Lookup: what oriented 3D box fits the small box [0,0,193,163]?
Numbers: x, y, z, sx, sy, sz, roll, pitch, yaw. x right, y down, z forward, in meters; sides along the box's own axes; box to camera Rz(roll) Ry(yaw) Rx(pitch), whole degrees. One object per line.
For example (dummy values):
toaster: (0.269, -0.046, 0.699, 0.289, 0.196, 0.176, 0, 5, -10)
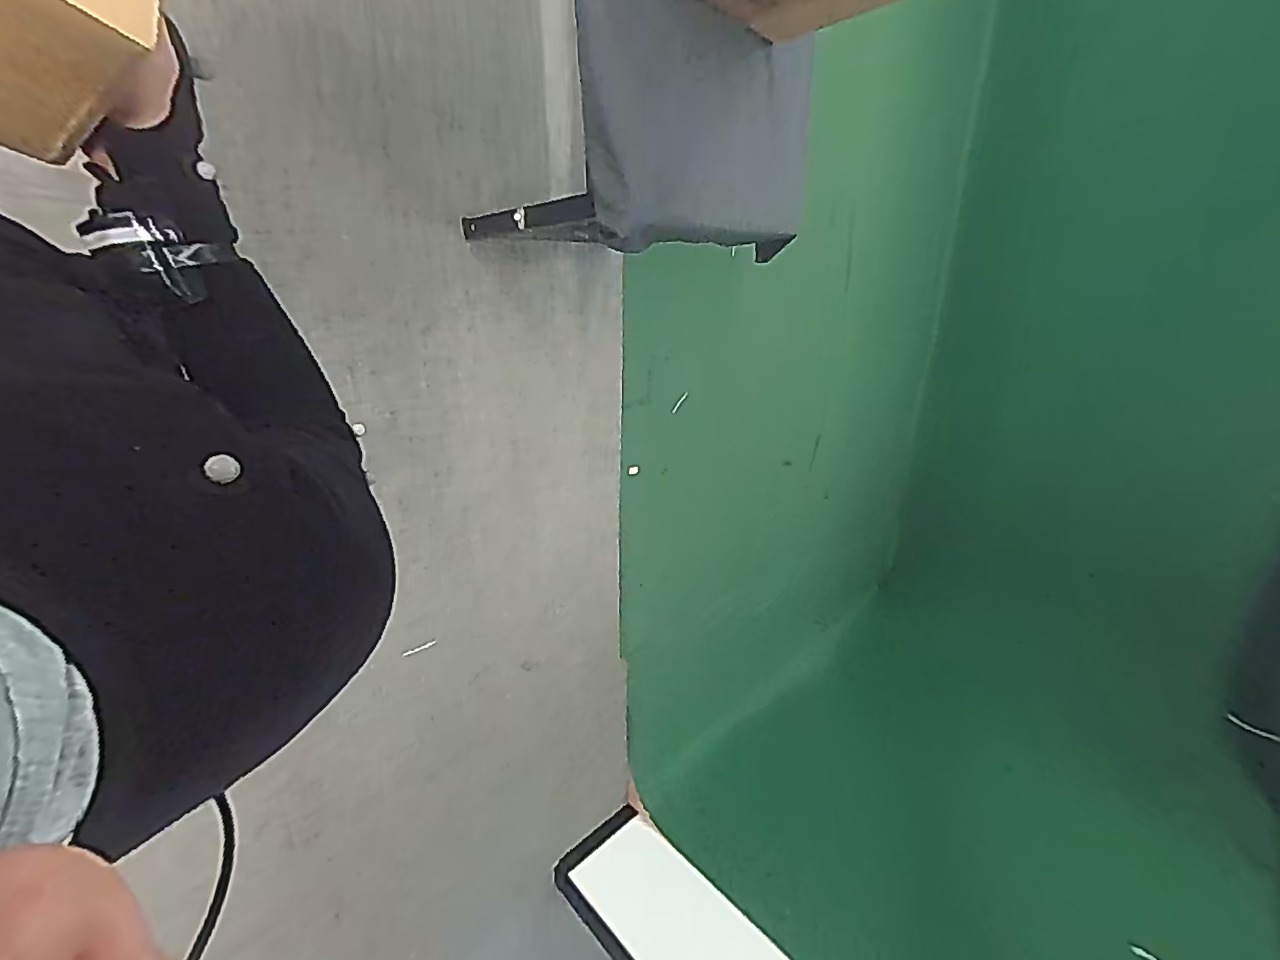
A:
small box: (-0.335, -0.280, 0.237, 0.179, 0.176, 0.168, 4, 84, -58)
